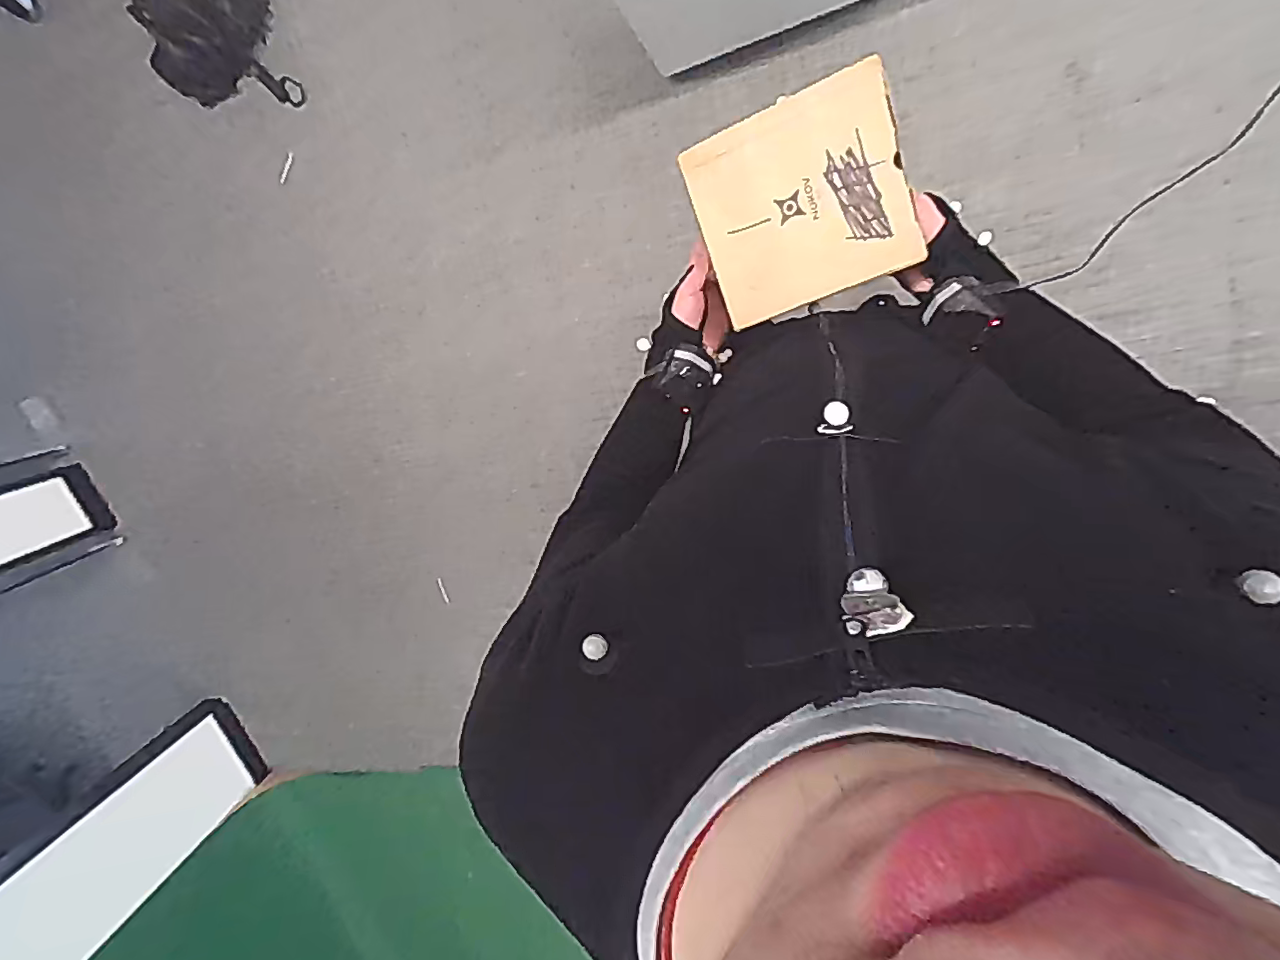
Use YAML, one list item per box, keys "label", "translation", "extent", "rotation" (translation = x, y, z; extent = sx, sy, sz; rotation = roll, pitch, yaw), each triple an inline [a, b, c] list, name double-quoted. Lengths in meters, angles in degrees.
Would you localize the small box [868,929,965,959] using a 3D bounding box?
- label: "small box"
  translation: [0.562, 1.038, 1.072]
  extent: [0.179, 0.176, 0.168]
  rotation: [-3, 111, 15]
